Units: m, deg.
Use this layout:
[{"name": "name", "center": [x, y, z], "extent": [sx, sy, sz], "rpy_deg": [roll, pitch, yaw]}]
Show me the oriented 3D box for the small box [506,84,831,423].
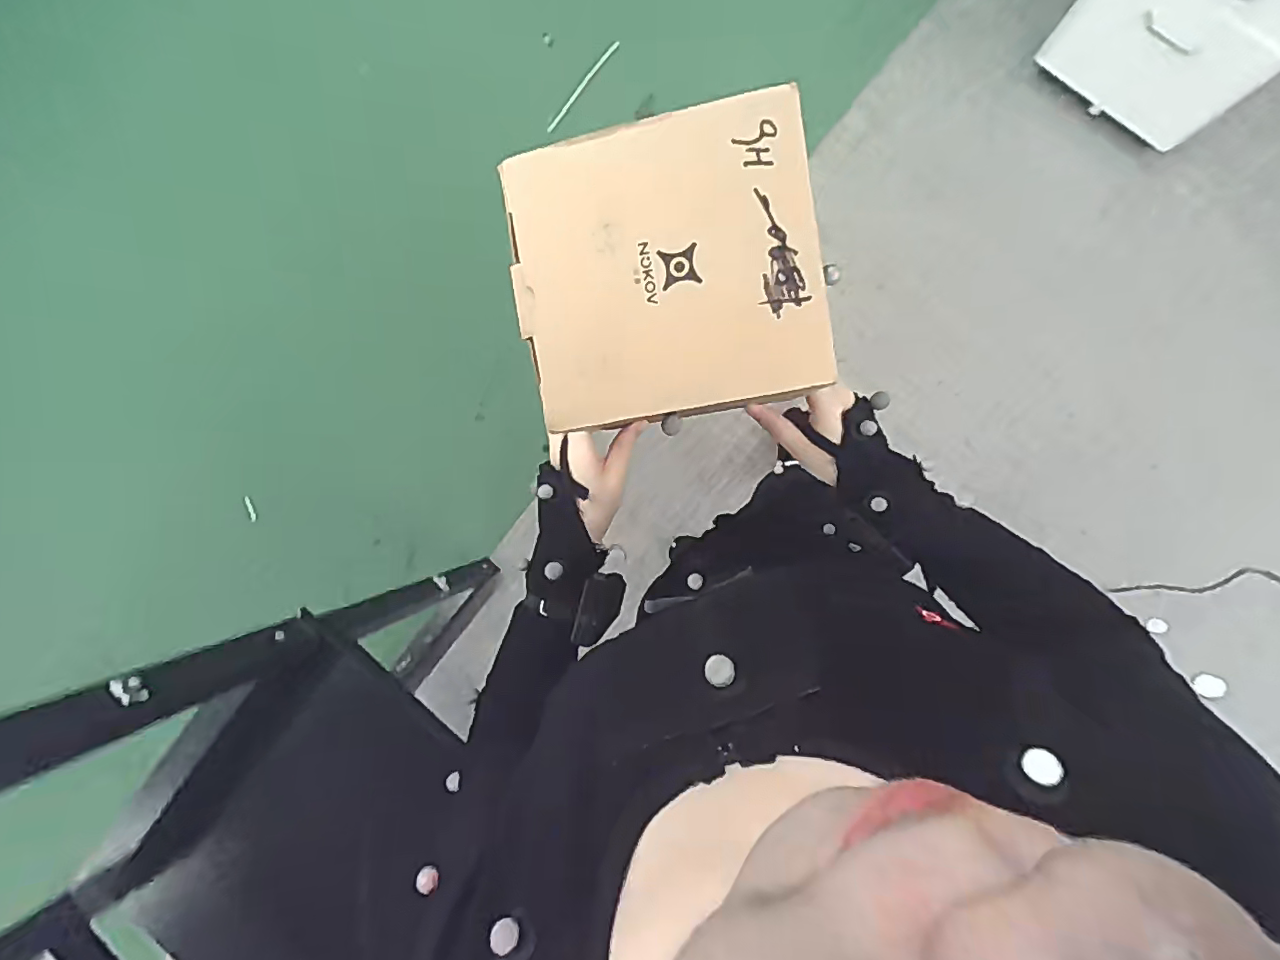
[{"name": "small box", "center": [0.027, -0.134, 0.394], "extent": [0.179, 0.176, 0.168], "rpy_deg": [-8, 94, 9]}]
